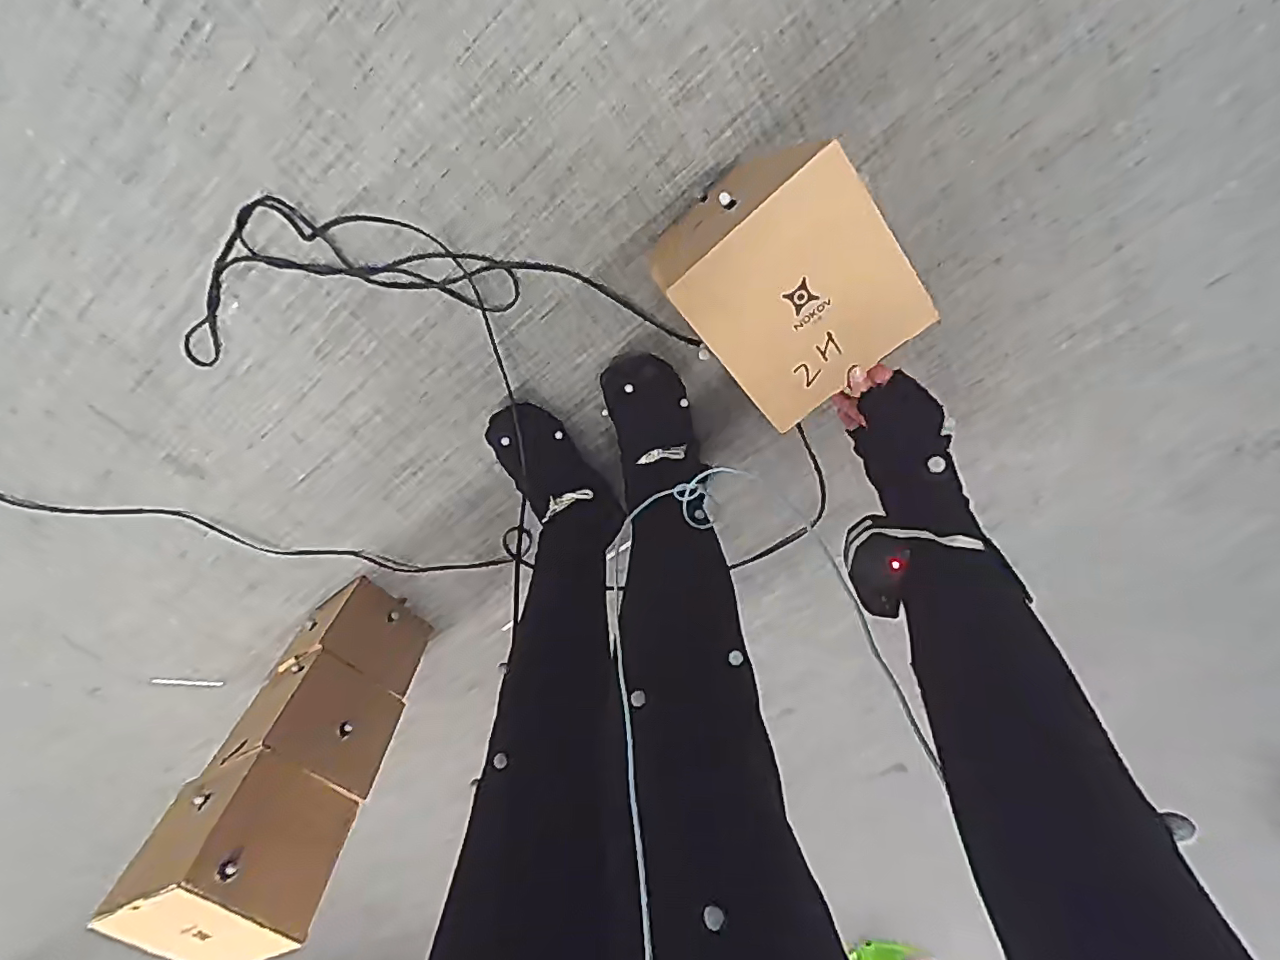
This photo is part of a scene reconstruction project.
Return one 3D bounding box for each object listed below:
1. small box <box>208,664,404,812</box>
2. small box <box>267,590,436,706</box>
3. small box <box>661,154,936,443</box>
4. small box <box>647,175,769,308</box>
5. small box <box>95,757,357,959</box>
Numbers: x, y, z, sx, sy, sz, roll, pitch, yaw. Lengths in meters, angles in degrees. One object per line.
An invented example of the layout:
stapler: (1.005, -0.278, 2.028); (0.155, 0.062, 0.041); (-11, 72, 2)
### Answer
small box: (-0.511, 0.416, 0.846); (0.168, 0.176, 0.179); (-33, 116, 17)
small box: (-0.513, 0.326, 0.987); (0.168, 0.176, 0.179); (-35, 113, 21)
small box: (0.133, -0.173, 0.519); (0.168, 0.176, 0.179); (-38, 114, 18)
small box: (0.124, -0.247, 0.665); (0.168, 0.176, 0.179); (-38, 114, 18)
small box: (-0.517, 0.501, 0.707); (0.168, 0.176, 0.179); (-28, 116, 15)
